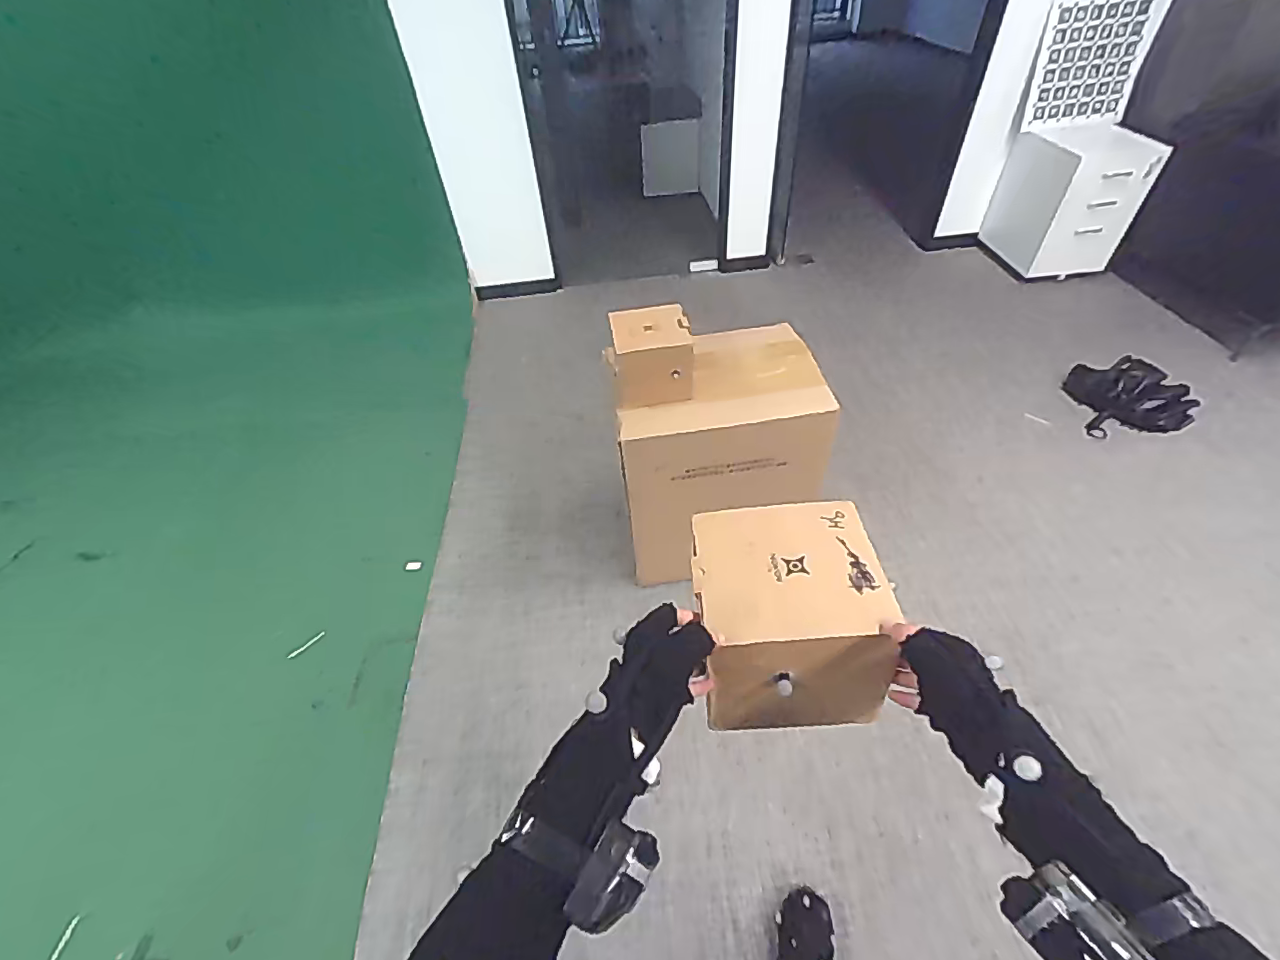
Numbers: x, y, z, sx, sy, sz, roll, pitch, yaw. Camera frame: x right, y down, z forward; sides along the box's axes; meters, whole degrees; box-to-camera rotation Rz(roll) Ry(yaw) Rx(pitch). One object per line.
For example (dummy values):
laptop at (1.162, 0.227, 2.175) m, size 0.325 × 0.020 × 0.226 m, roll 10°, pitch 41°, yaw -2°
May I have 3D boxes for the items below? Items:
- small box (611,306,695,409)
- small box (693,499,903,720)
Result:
small box at (0.031, -0.293, 1.307) m, size 0.179 × 0.176 × 0.168 m, roll -9°, pitch 50°, yaw -2°
small box at (0.154, 0.142, 0.585) m, size 0.179 × 0.176 × 0.168 m, roll -5°, pitch 40°, yaw 4°
